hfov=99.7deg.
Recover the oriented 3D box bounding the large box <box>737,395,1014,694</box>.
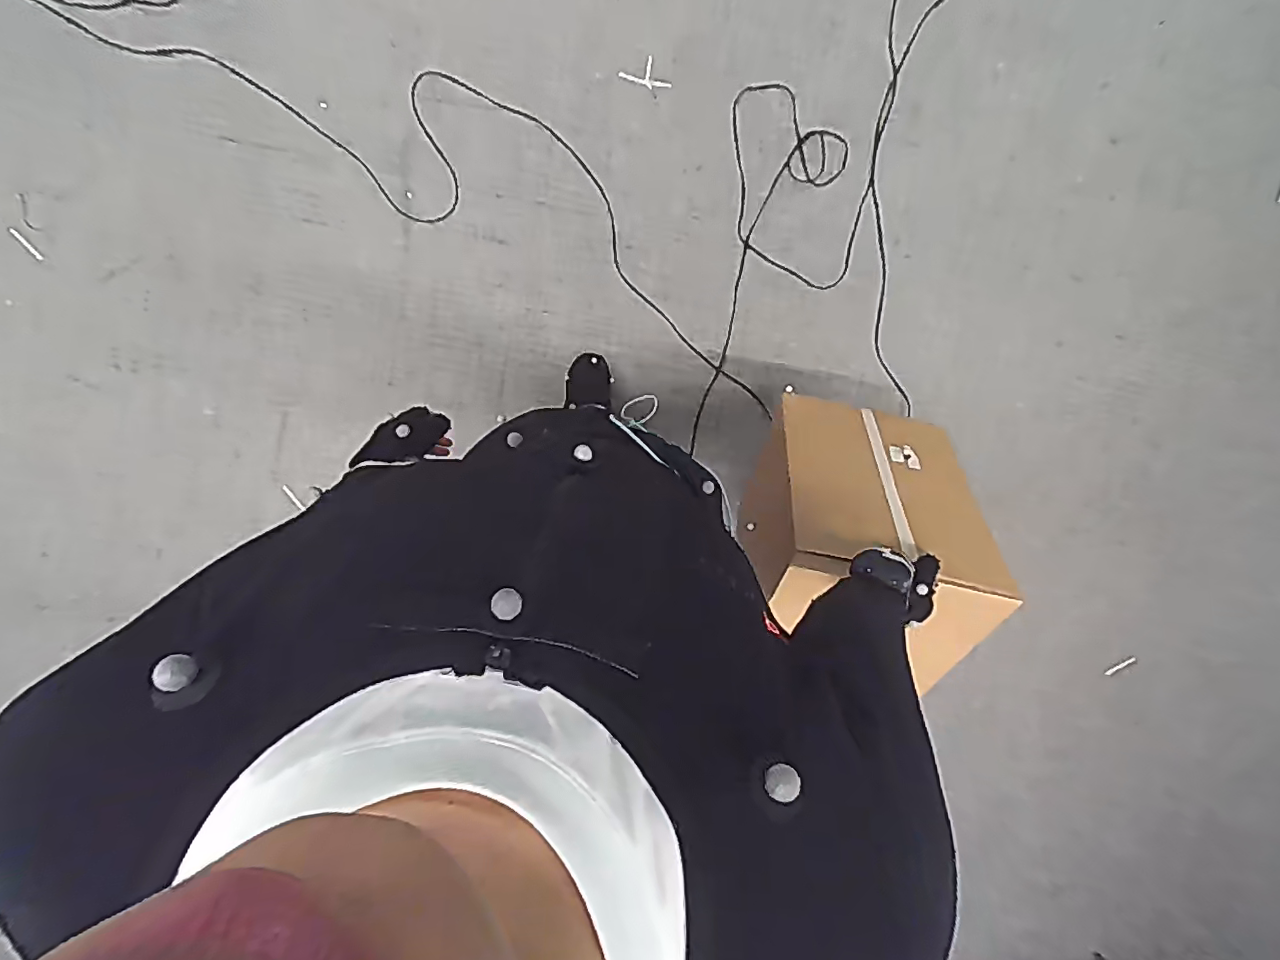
[{"bbox_3d":[0.363,0.107,0.975,0.320,0.408,0.320,13,131,0],"label":"large box"}]
